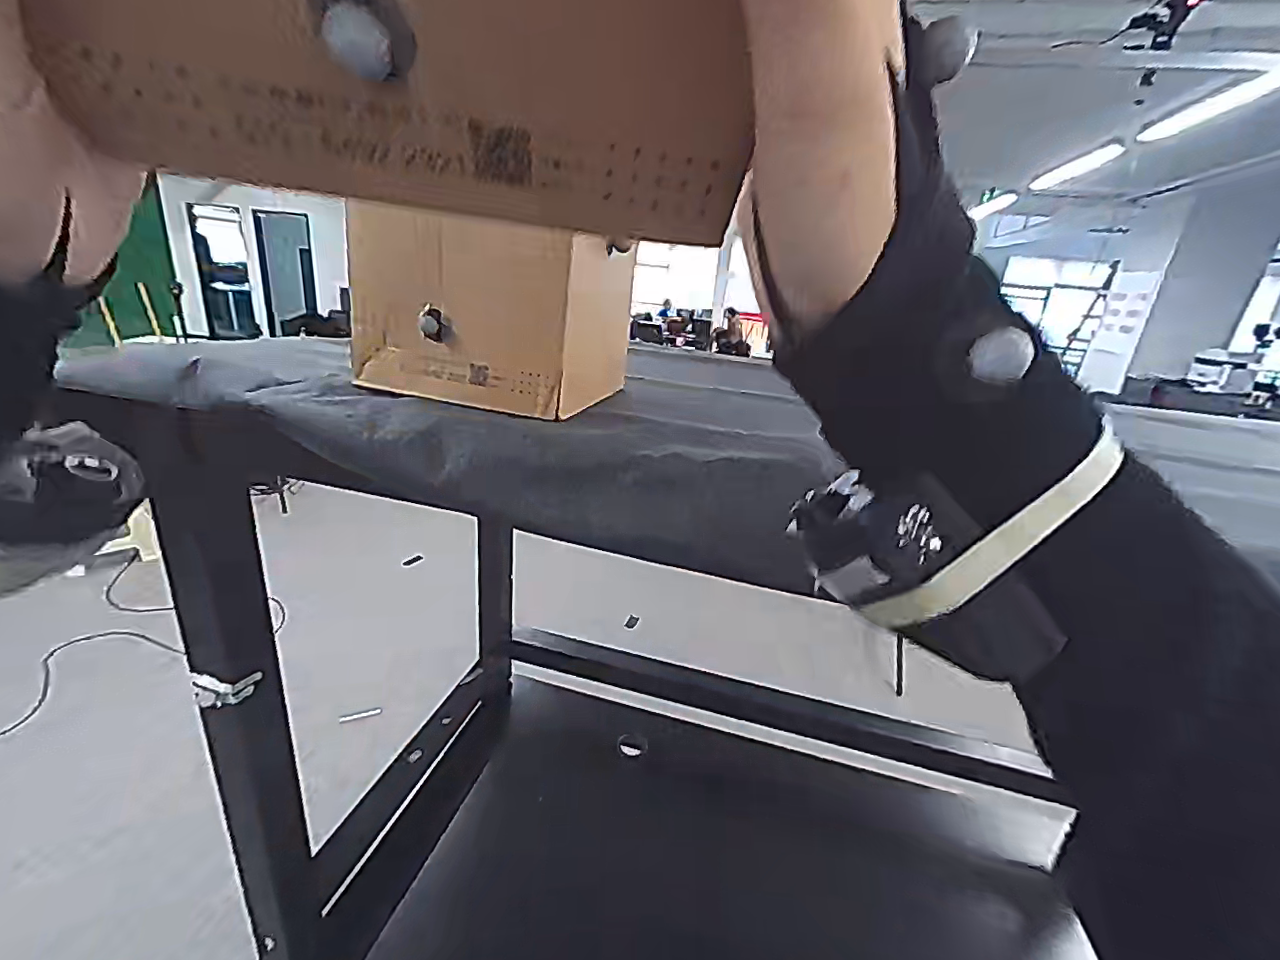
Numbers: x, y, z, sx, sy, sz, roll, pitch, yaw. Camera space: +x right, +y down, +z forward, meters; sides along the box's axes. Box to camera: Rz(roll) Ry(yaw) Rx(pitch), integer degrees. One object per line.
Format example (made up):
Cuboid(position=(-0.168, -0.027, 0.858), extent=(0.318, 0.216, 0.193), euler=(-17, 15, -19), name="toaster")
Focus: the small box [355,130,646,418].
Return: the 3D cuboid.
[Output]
Cuboid(position=(-0.101, -0.157, 0.439), extent=(0.168, 0.176, 0.179), euler=(11, 19, 10), name="small box")
